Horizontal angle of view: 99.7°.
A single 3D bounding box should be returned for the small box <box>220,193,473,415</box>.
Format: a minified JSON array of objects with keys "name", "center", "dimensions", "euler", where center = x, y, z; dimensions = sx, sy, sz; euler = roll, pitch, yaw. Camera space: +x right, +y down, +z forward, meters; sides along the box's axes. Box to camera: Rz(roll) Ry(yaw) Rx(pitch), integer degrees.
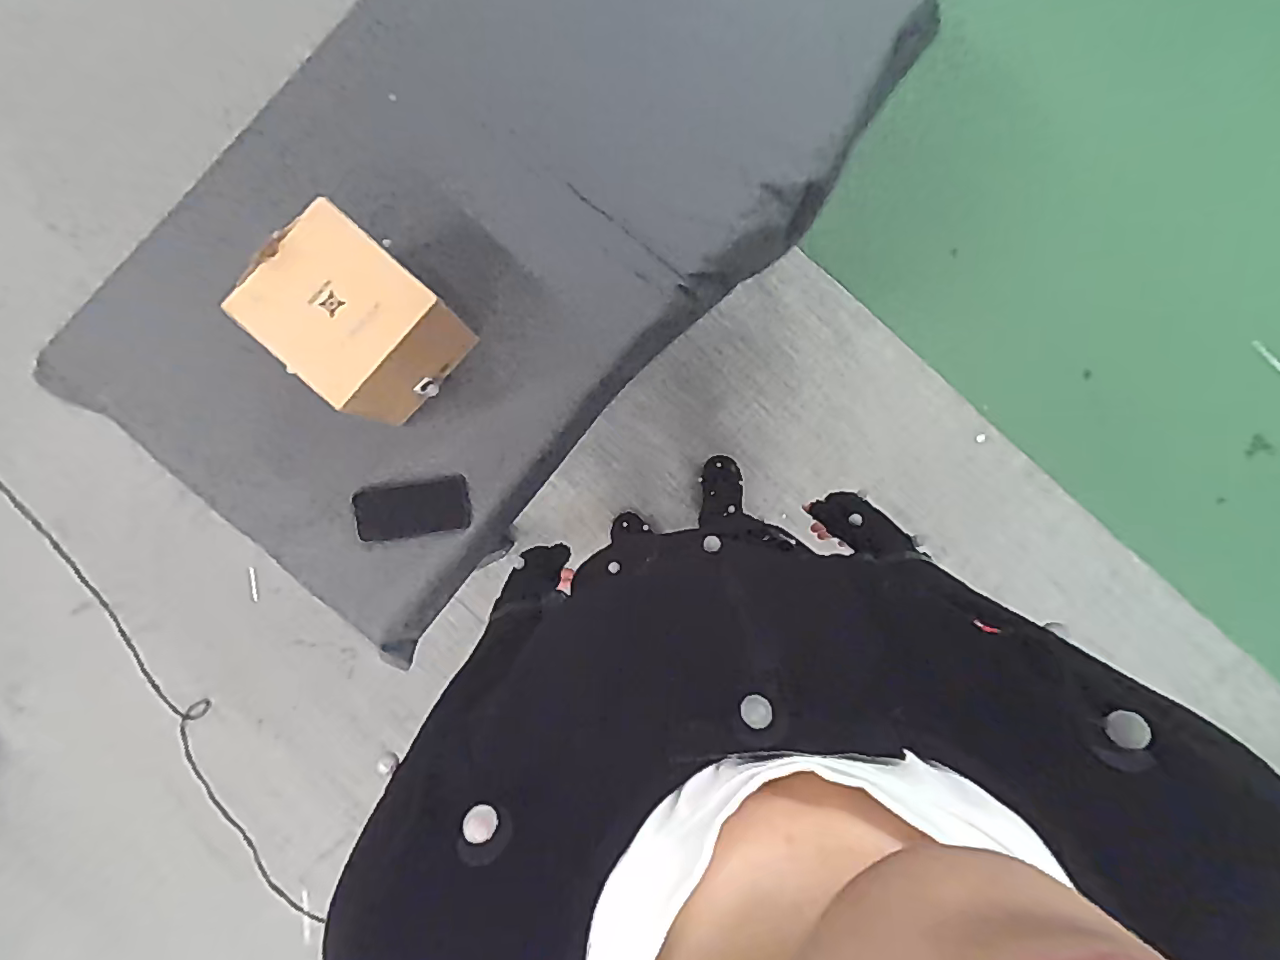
[{"name":"small box","center":[-0.340,-0.197,0.666],"dimensions":[0.179,0.176,0.168],"euler":[41,89,-1]}]
